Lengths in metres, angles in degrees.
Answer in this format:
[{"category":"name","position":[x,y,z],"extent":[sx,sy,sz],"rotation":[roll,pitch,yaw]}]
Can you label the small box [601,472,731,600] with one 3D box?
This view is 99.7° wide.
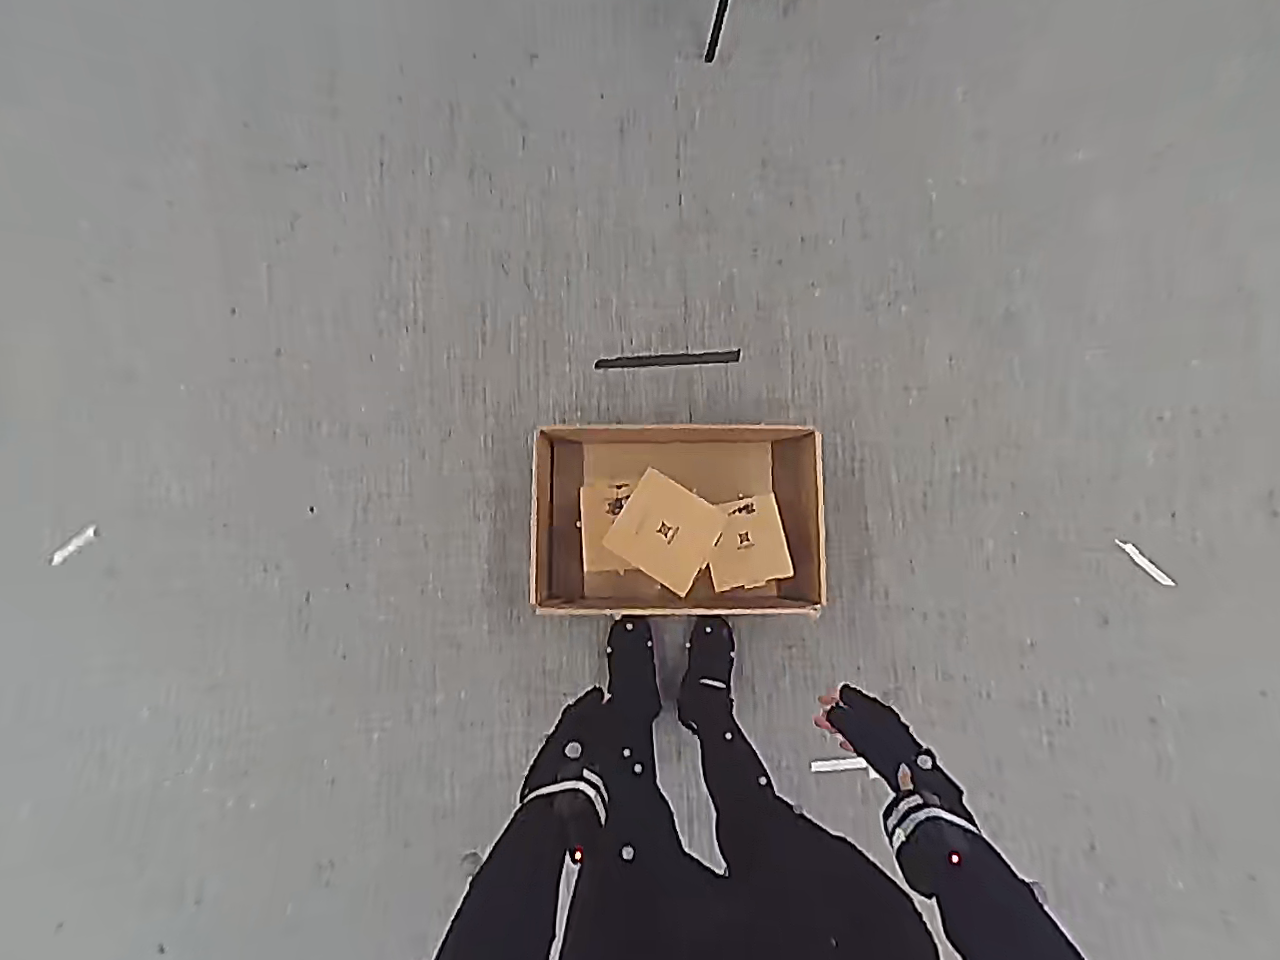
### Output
[{"category":"small box","position":[0.047,0.106,1.026],"extent":[0.179,0.176,0.168],"rotation":[31,83,5]}]
